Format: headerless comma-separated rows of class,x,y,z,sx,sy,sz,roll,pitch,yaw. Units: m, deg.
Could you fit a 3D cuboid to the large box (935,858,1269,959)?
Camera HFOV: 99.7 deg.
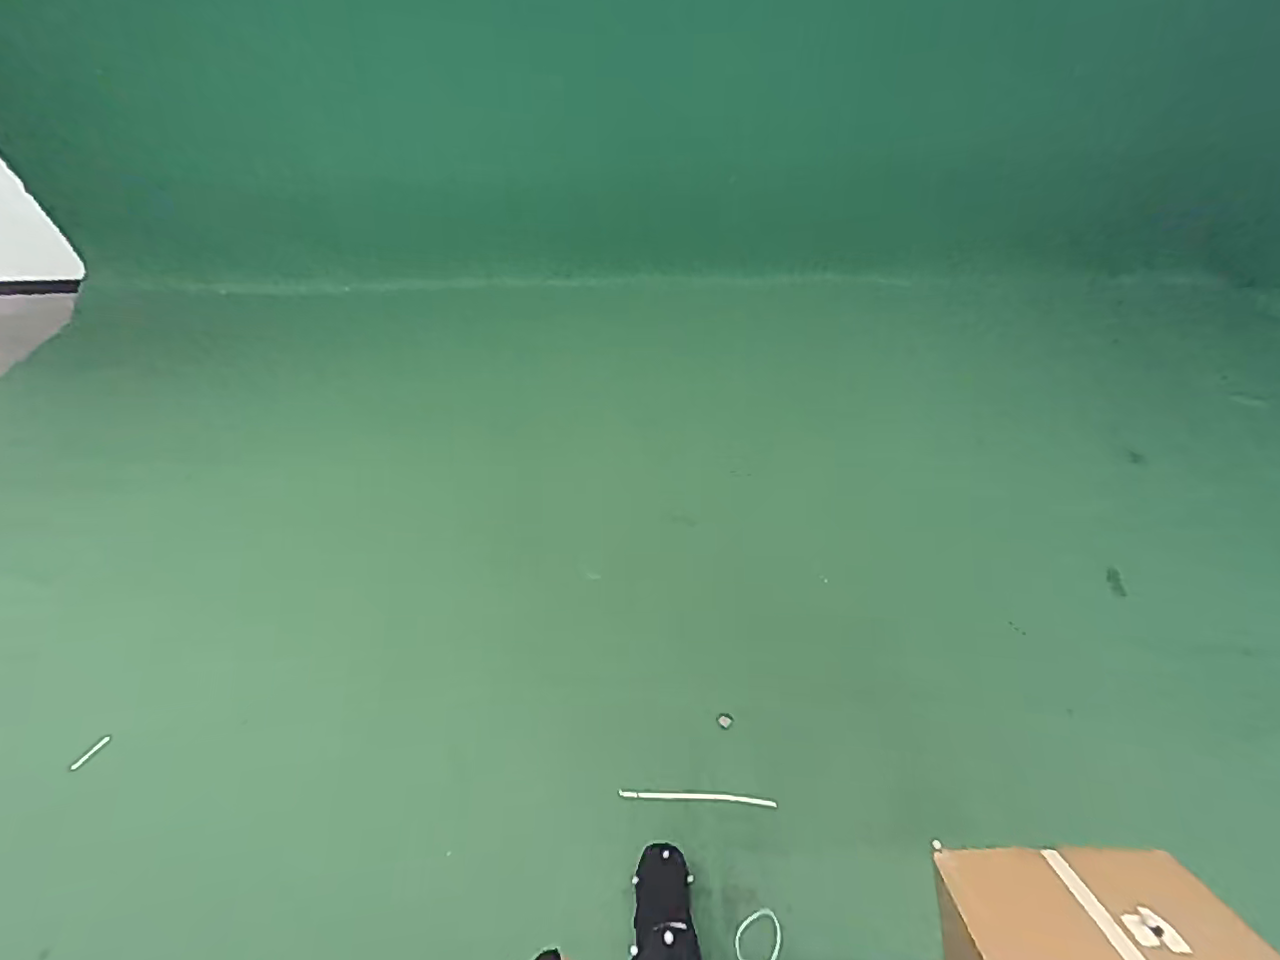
large box,0.578,0.713,0.592,0.320,0.408,0.320,-6,92,10
